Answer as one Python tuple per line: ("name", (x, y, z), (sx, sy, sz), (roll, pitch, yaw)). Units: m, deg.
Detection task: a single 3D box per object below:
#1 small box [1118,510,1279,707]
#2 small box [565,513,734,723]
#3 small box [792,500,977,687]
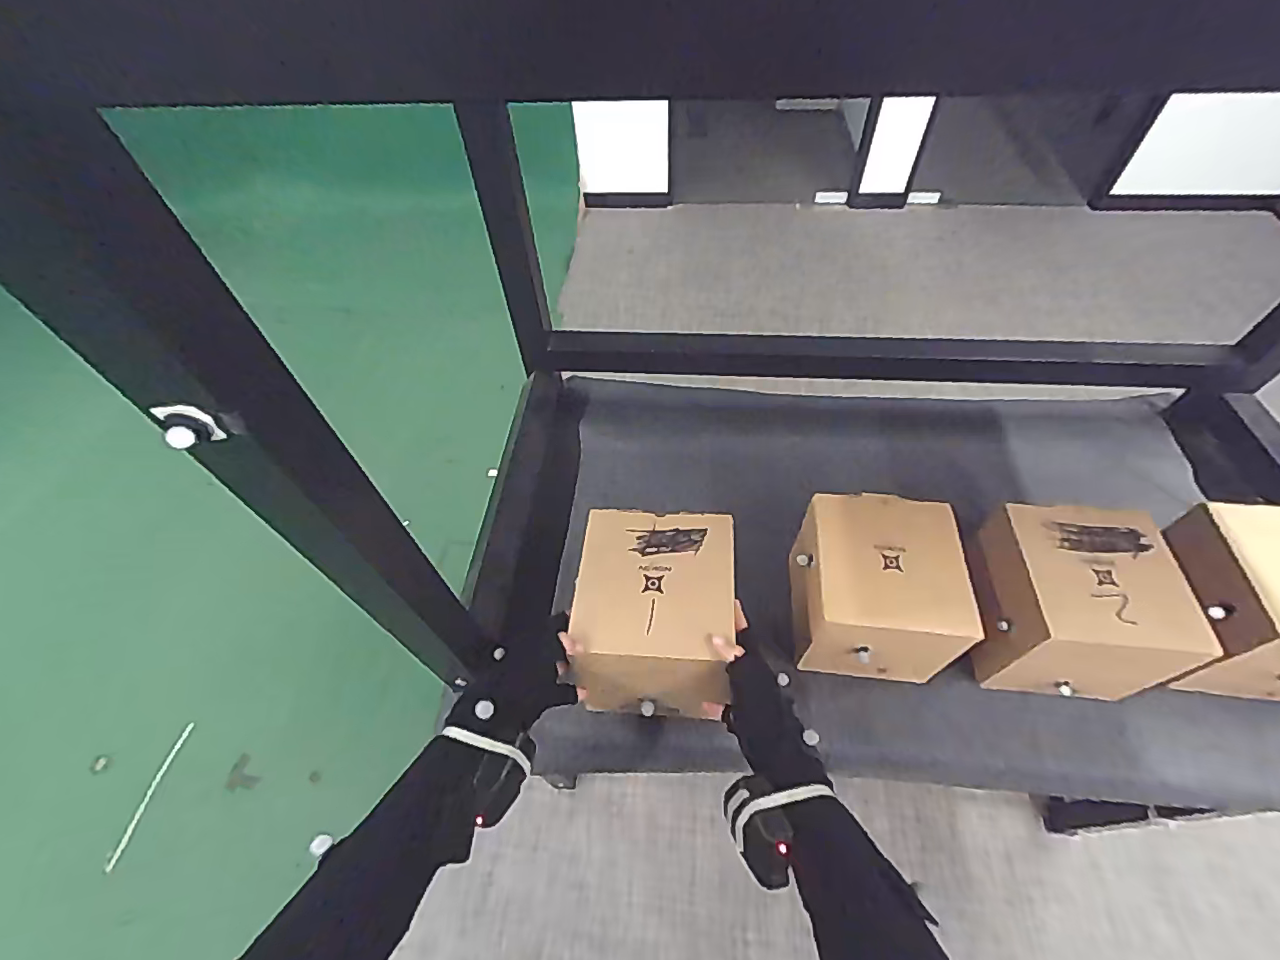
("small box", (0.742, 0.160, 0.651), (0.168, 0.176, 0.179), (6, 52, 7))
("small box", (0.020, 0.160, 0.630), (0.168, 0.176, 0.179), (2, 50, 7))
("small box", (0.291, 0.148, 0.689), (0.168, 0.176, 0.179), (4, 52, 7))
